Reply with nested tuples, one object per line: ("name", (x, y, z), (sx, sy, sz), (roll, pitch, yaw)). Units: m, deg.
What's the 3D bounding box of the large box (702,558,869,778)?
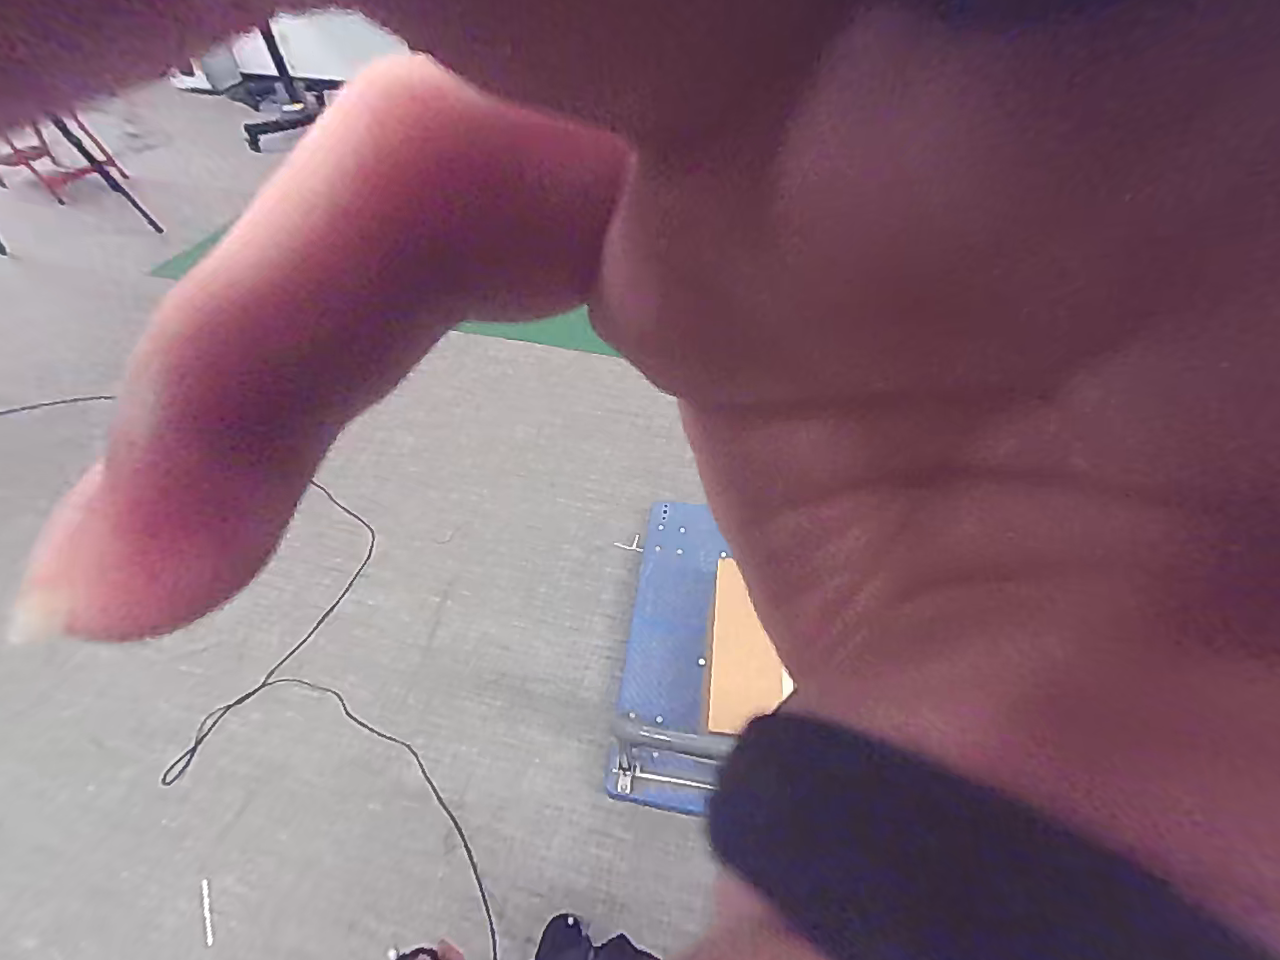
("large box", (0.320, 0.451, 1.300), (0.320, 0.320, 0.408), (7, 51, 4))
